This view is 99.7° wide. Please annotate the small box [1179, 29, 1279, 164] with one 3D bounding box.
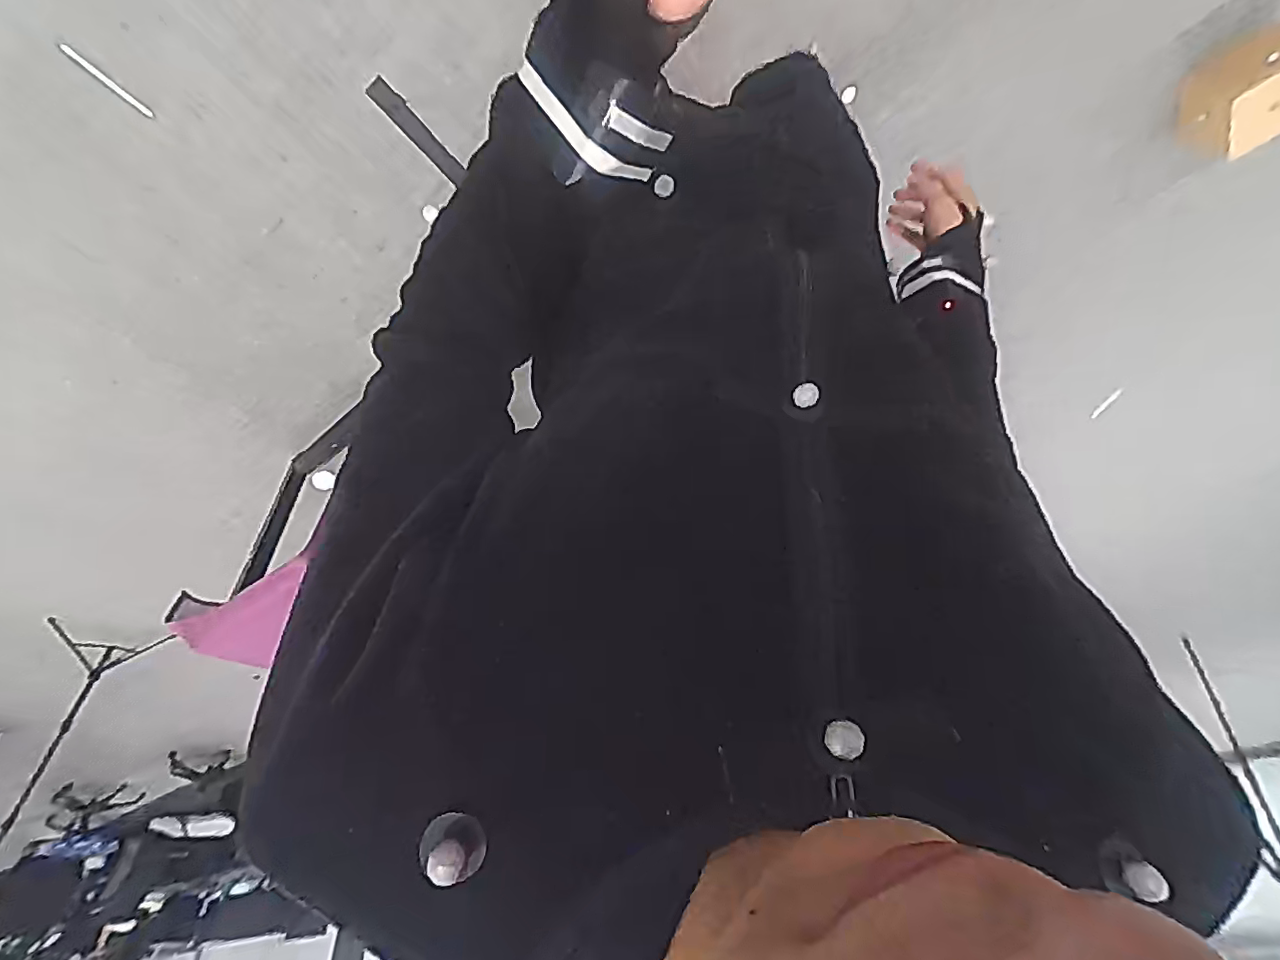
[{"bbox_3d":[1.402,-0.885,1.249,0.179,0.176,0.168,-32,133,25],"label":"small box"}]
